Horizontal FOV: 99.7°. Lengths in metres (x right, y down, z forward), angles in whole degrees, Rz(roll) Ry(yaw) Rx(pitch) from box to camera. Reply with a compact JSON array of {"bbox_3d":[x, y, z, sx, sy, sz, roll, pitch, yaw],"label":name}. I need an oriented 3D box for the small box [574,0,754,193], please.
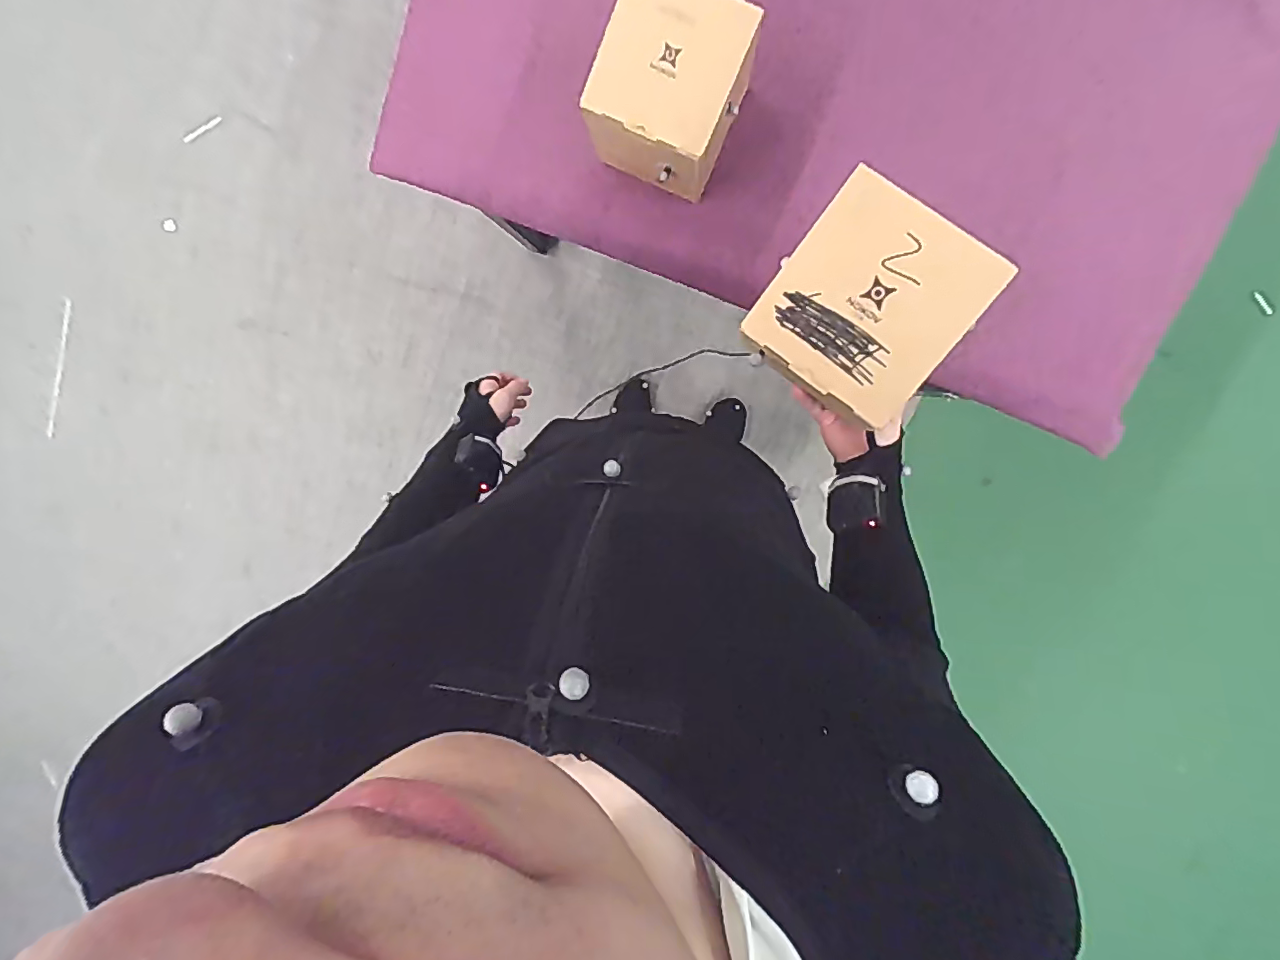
[{"bbox_3d":[0.033,-0.520,0.722,0.168,0.176,0.179,24,101,-1],"label":"small box"}]
